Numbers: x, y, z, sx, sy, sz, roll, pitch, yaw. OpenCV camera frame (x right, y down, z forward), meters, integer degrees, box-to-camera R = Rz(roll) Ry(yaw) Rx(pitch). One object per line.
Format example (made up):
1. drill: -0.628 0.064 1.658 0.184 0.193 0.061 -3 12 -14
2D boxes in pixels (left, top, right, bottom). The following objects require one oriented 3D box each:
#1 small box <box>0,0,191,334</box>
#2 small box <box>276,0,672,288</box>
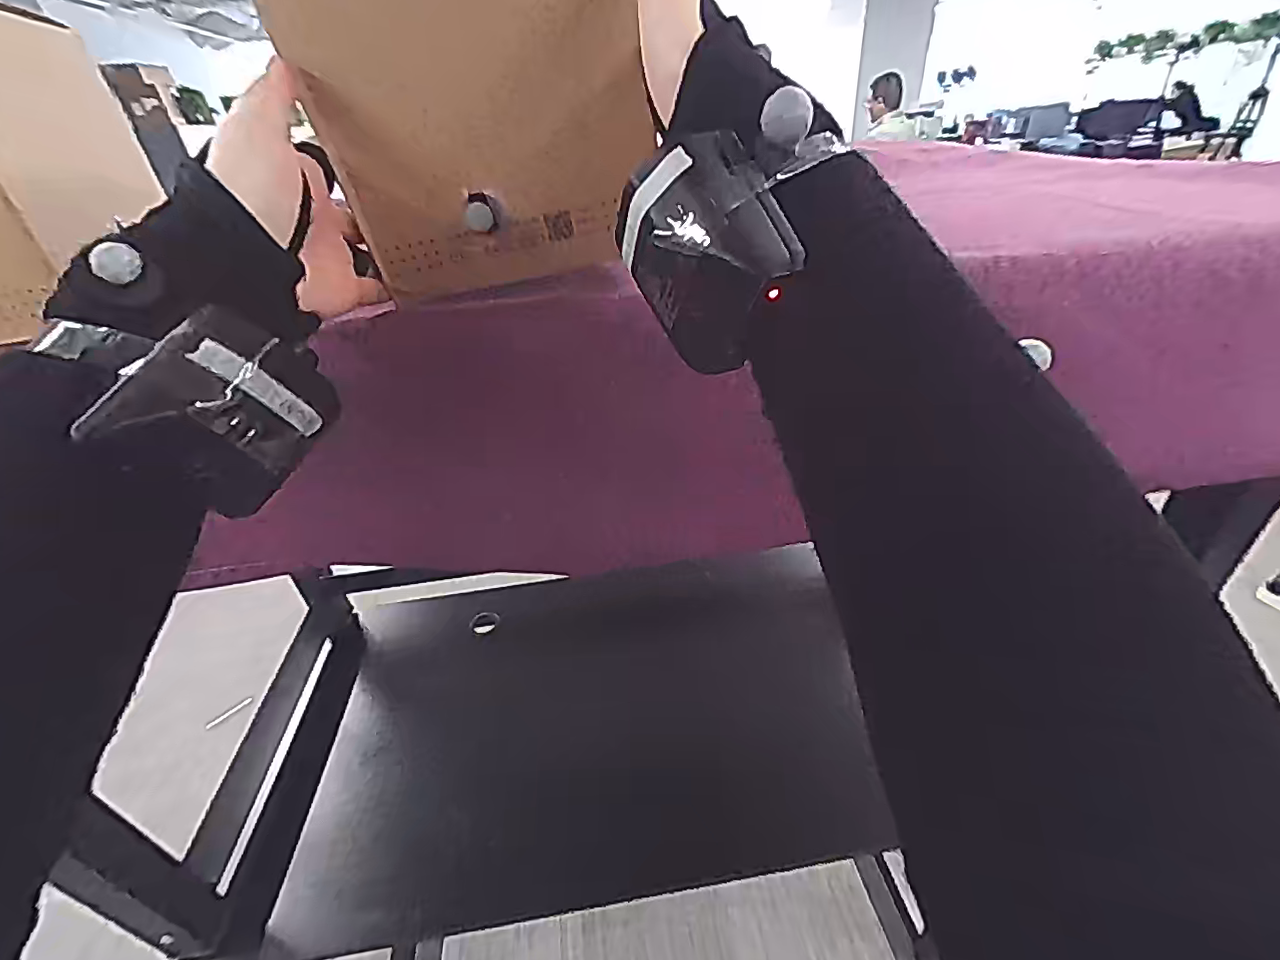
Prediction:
1. small box: -0.431 -0.189 0.334 0.168 0.176 0.179 -13 33 -11
2. small box: -0.082 -0.234 0.321 0.168 0.176 0.179 -13 40 1
